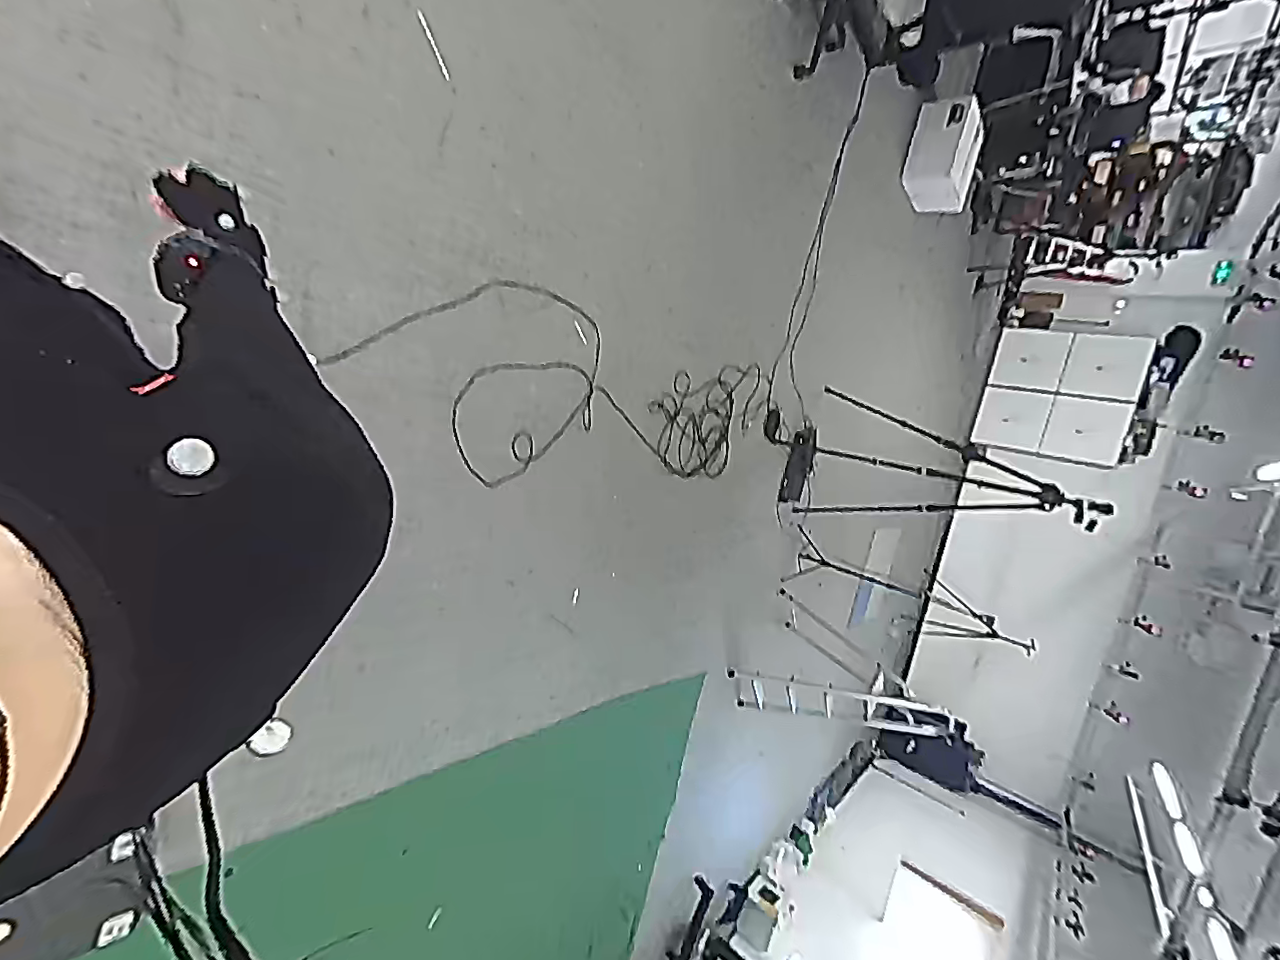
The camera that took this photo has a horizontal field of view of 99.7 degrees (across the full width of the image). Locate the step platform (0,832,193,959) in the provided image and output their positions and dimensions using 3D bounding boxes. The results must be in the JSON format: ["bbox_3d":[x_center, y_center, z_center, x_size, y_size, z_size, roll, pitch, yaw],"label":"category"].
[{"bbox_3d":[-1.177,0.875,0.868,0.684,0.204,0.286,5,100,-53],"label":"step platform"}]
